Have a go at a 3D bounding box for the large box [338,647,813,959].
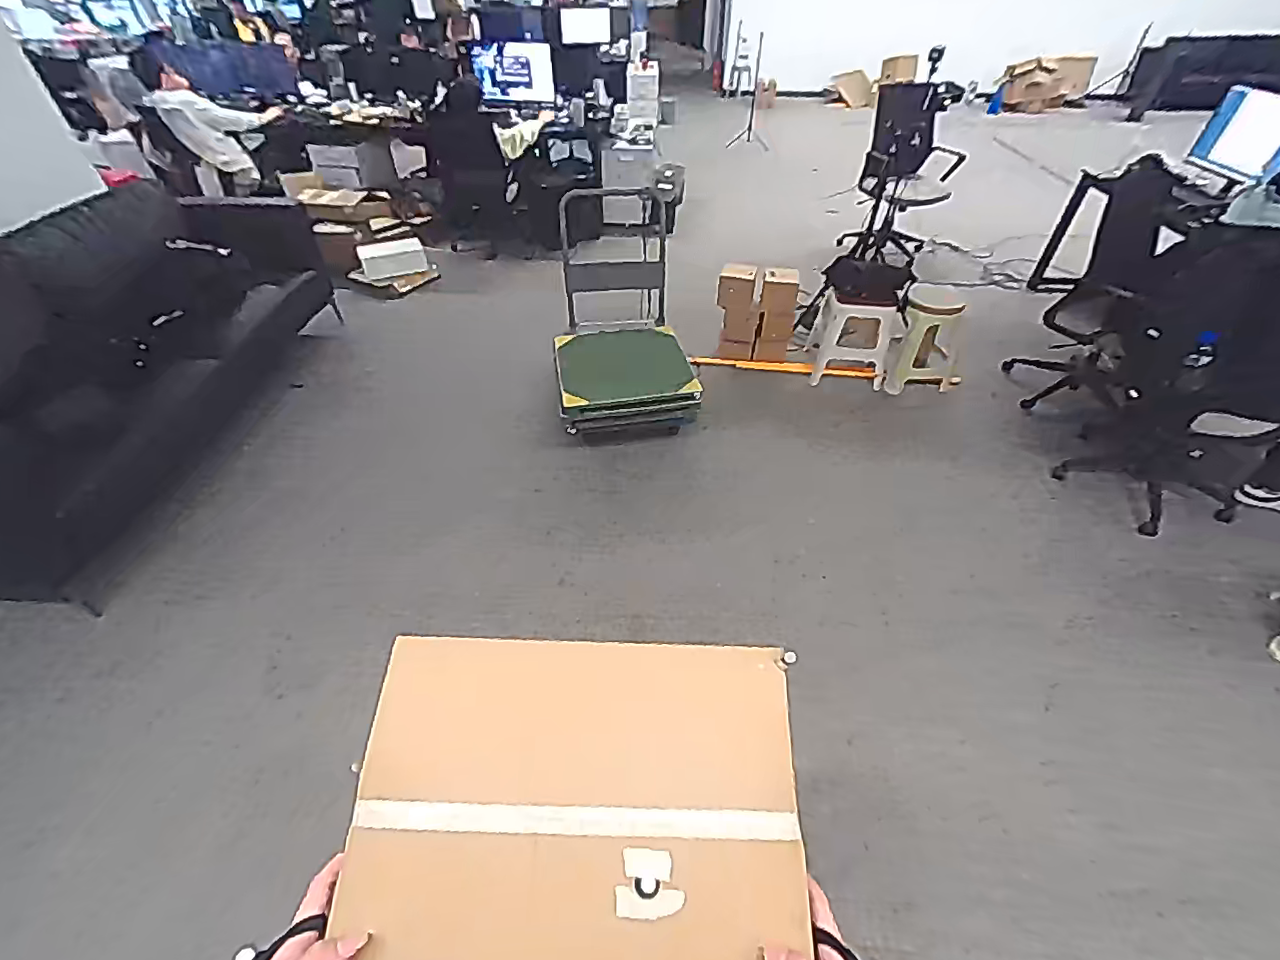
[{"bbox_3d":[-0.055,0.387,0.627,0.408,0.320,0.320,2,62,0],"label":"large box"}]
